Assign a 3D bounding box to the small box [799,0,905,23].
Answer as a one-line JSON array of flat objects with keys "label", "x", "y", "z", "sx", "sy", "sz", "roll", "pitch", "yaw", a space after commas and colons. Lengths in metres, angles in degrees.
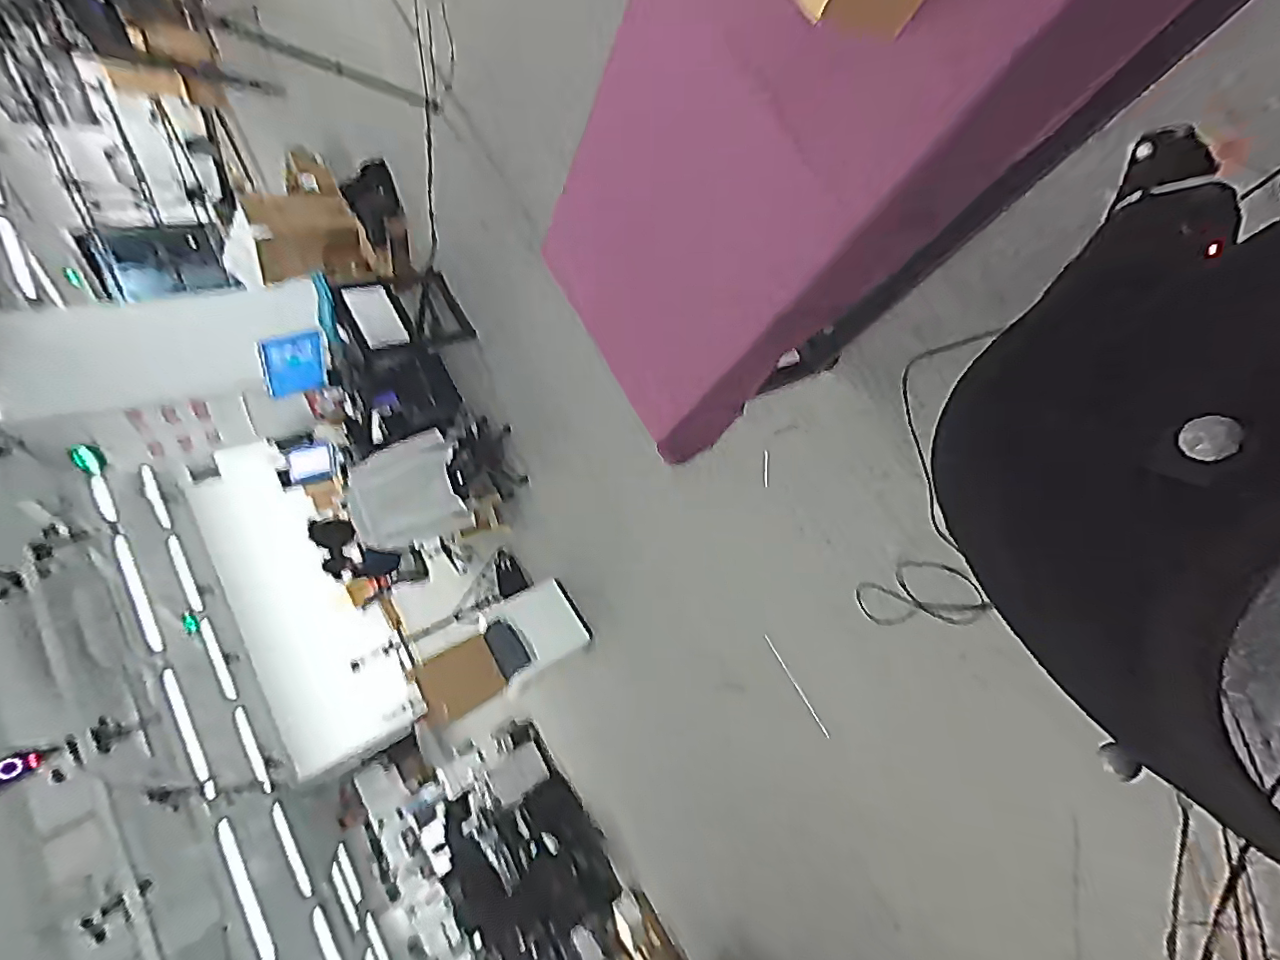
[{"label": "small box", "x": 0.237, "y": -0.635, "z": 0.573, "sx": 0.168, "sy": 0.176, "sz": 0.179, "roll": 58, "pitch": 145, "yaw": 13}]
